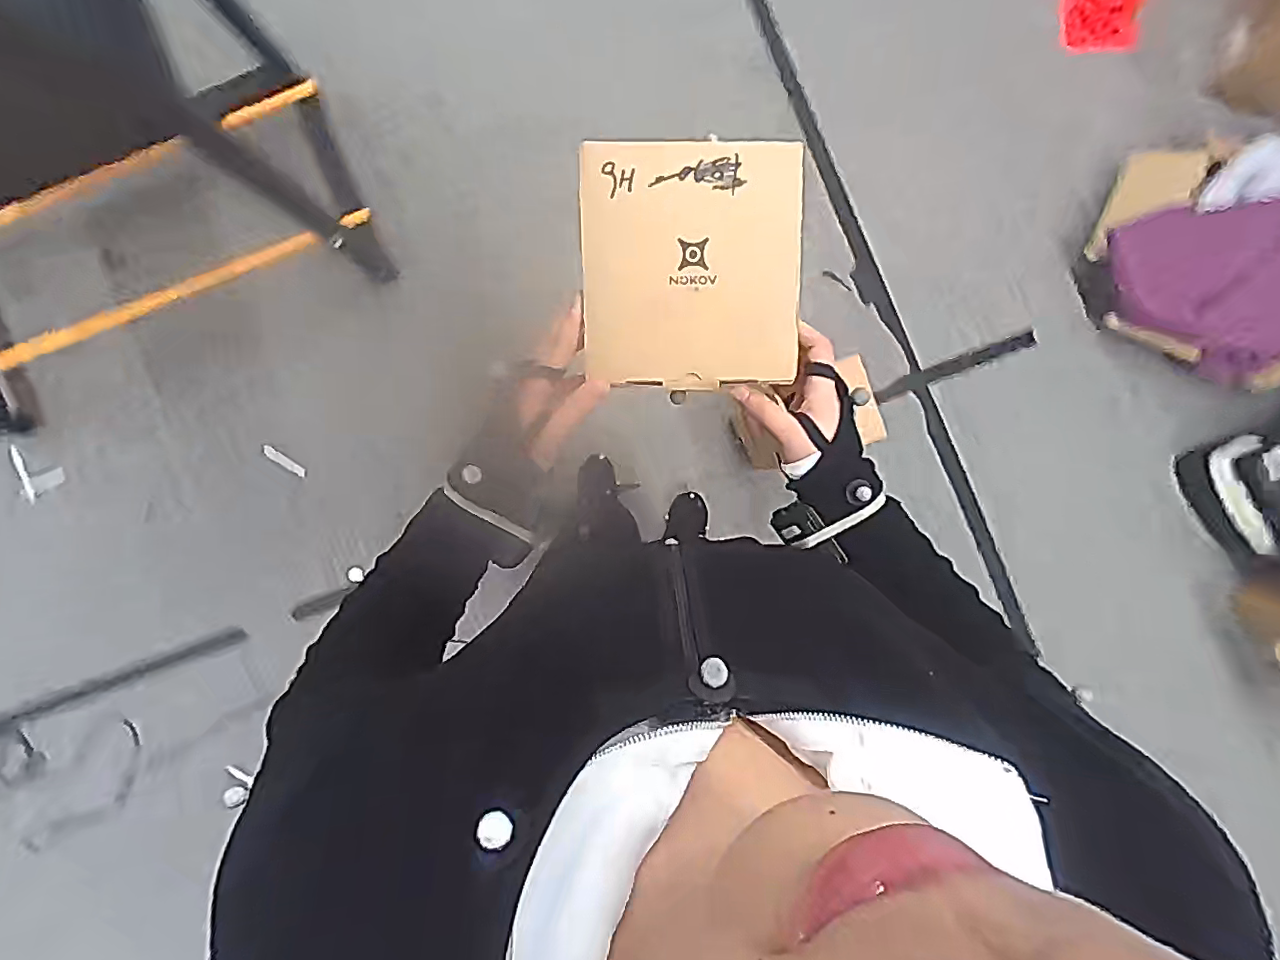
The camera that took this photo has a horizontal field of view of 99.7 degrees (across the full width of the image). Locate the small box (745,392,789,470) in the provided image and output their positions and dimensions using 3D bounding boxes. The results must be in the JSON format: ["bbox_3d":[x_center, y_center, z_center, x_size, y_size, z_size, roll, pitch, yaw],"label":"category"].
[{"bbox_3d":[0.357,-0.130,1.250,0.168,0.176,0.179,-22,90,2],"label":"small box"}]

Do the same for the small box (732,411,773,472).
[{"bbox_3d":[0.360,-0.130,1.414,0.179,0.176,0.168,-26,89,2],"label":"small box"}]

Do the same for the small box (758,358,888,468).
[{"bbox_3d":[0.357,-0.127,1.085,0.179,0.176,0.168,-19,89,2],"label":"small box"}]

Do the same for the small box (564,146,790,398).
[{"bbox_3d":[0.027,-0.167,0.481,0.168,0.176,0.179,-3,100,-2],"label":"small box"}]
